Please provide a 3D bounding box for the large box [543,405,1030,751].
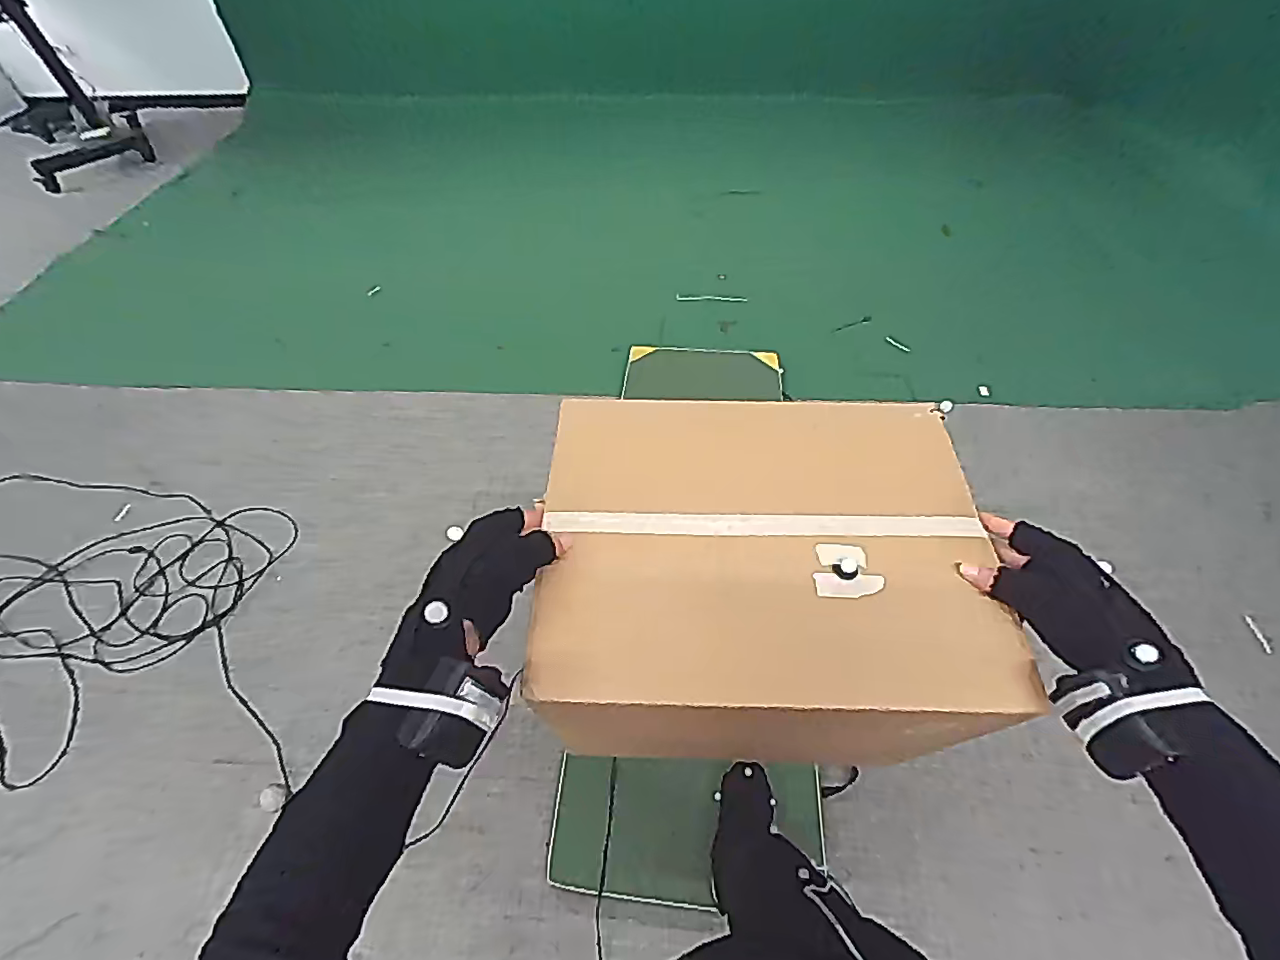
[{"bbox_3d":[0.117,0.127,0.639,0.408,0.320,0.320,1,57,0],"label":"large box"}]
